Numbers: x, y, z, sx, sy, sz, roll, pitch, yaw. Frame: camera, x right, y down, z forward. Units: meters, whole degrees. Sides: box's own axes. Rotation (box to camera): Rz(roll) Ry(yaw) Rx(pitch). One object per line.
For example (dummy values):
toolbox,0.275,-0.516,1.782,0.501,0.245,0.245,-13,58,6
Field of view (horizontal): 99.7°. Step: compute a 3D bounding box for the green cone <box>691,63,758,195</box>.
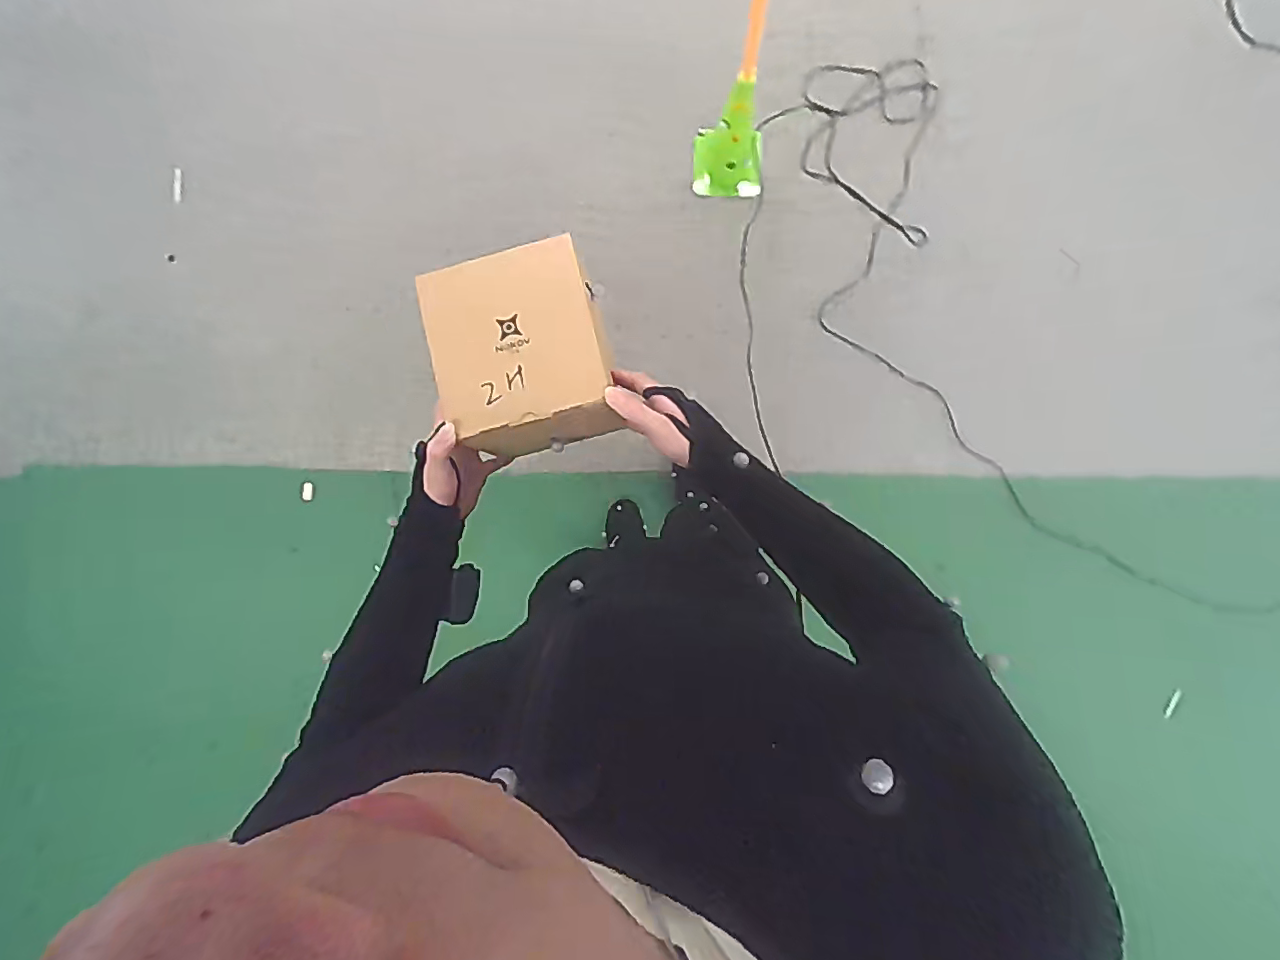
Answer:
green cone,0.252,-0.952,1.441,0.202,0.368,0.200,1,90,0
